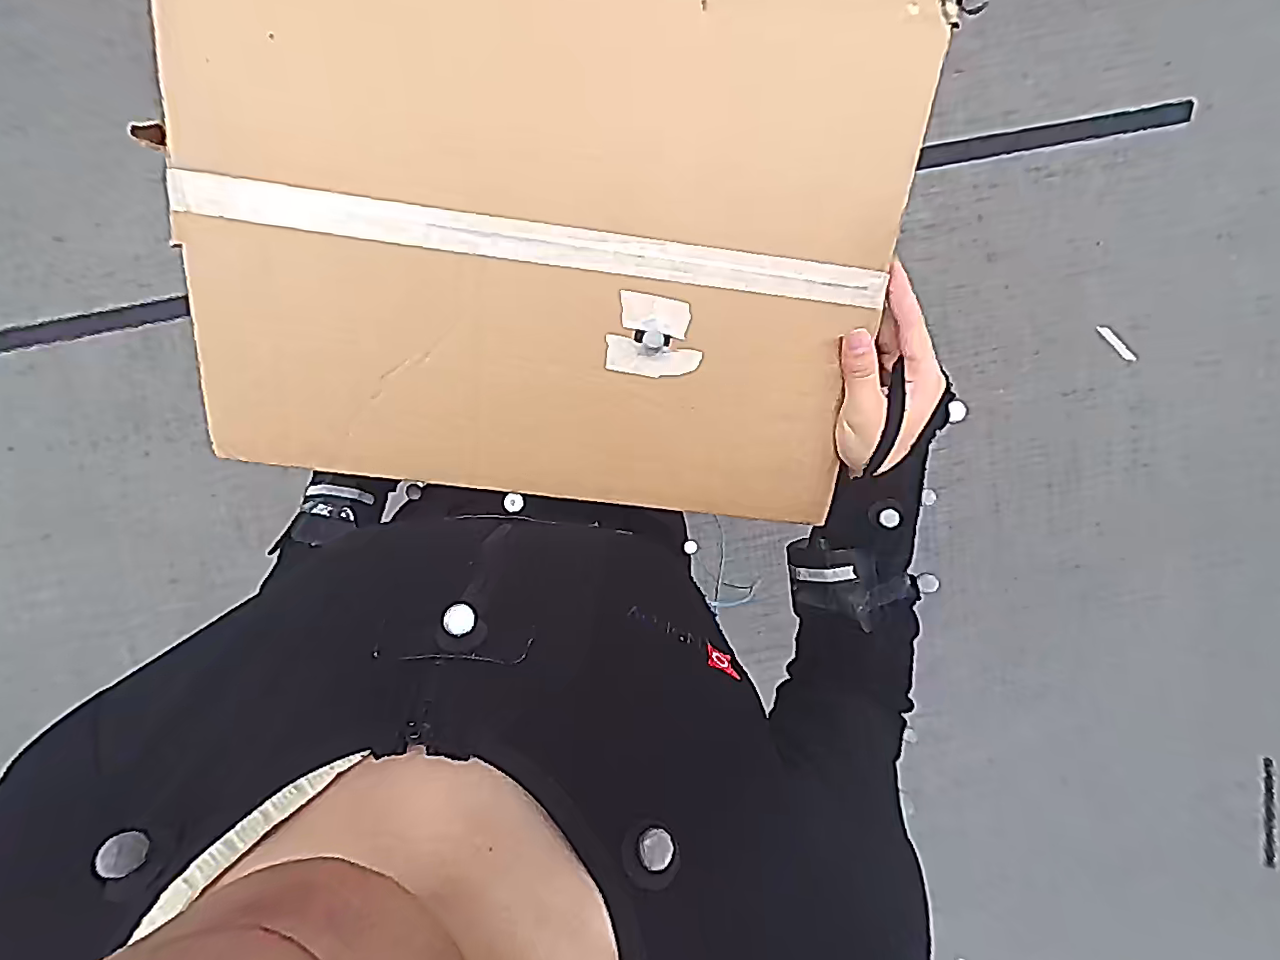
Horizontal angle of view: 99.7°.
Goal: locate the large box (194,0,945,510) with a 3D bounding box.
[{"bbox_3d":[-0.055,-0.186,0.464,0.408,0.320,0.320,6,109,-6],"label":"large box"}]
